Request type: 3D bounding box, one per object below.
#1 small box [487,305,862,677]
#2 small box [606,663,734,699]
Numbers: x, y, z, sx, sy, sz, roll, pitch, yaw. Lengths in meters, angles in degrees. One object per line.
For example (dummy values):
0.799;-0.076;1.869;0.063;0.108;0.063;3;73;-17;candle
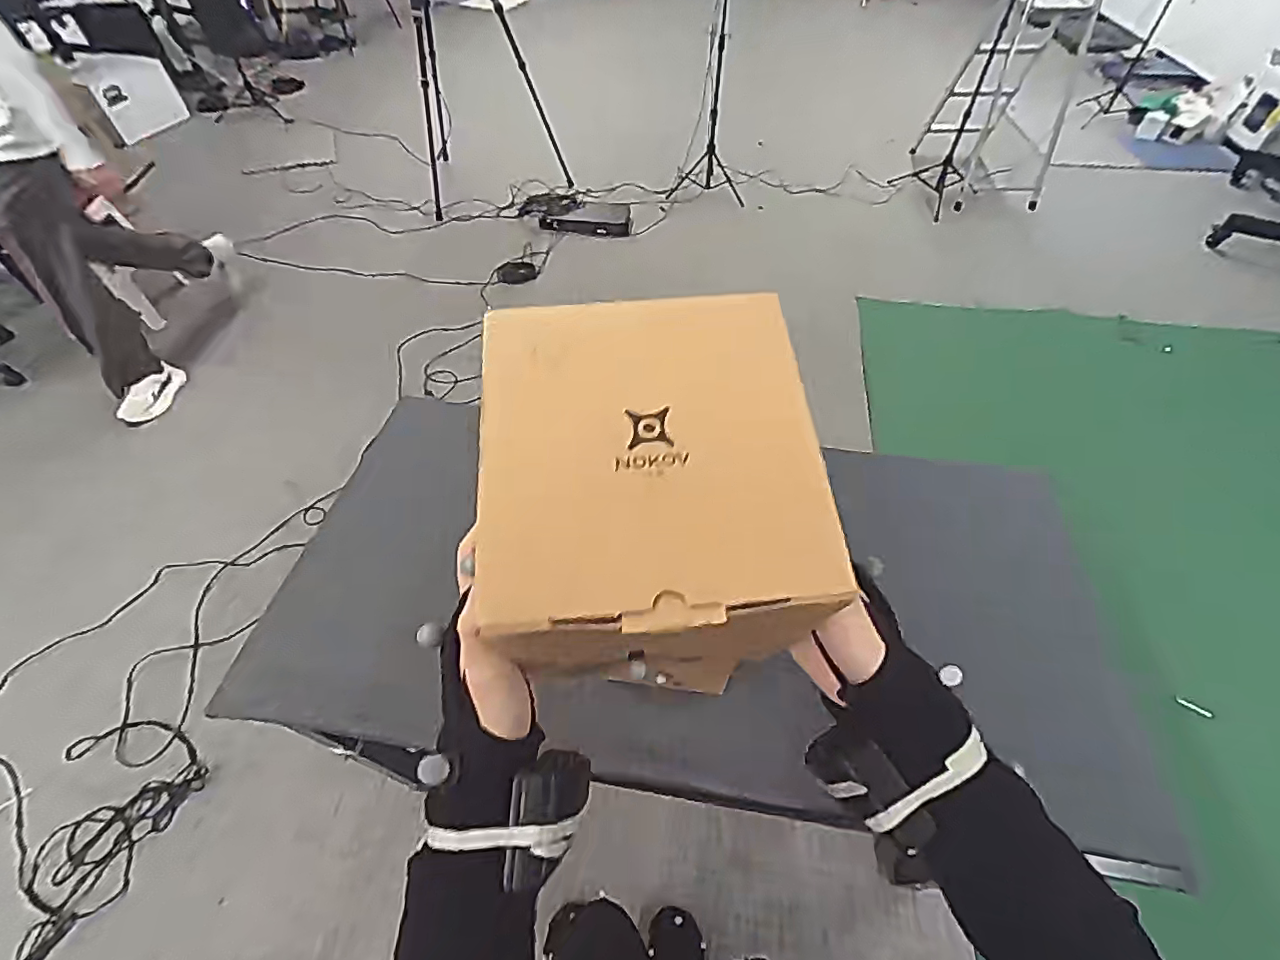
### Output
0.007;0.017;0.339;0.168;0.176;0.179;-4;64;-4;small box
0.040;0.169;0.723;0.168;0.176;0.179;6;51;5;small box
